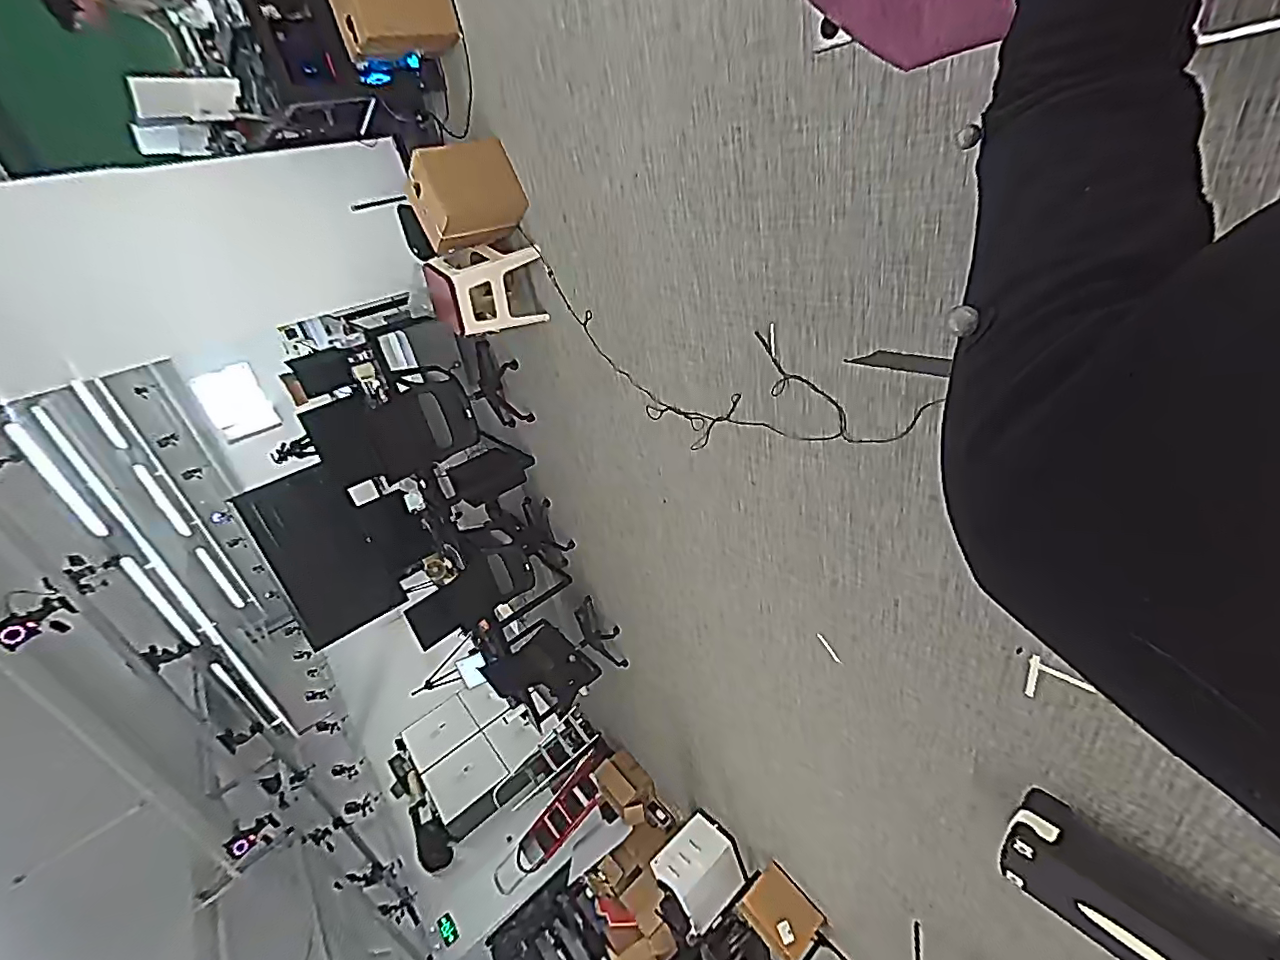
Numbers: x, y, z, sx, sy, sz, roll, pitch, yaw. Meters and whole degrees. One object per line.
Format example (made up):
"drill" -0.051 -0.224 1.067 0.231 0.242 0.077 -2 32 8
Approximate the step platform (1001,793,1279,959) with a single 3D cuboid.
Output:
"step platform" 1.465 1.280 1.583 0.684 0.204 0.286 23 135 46
